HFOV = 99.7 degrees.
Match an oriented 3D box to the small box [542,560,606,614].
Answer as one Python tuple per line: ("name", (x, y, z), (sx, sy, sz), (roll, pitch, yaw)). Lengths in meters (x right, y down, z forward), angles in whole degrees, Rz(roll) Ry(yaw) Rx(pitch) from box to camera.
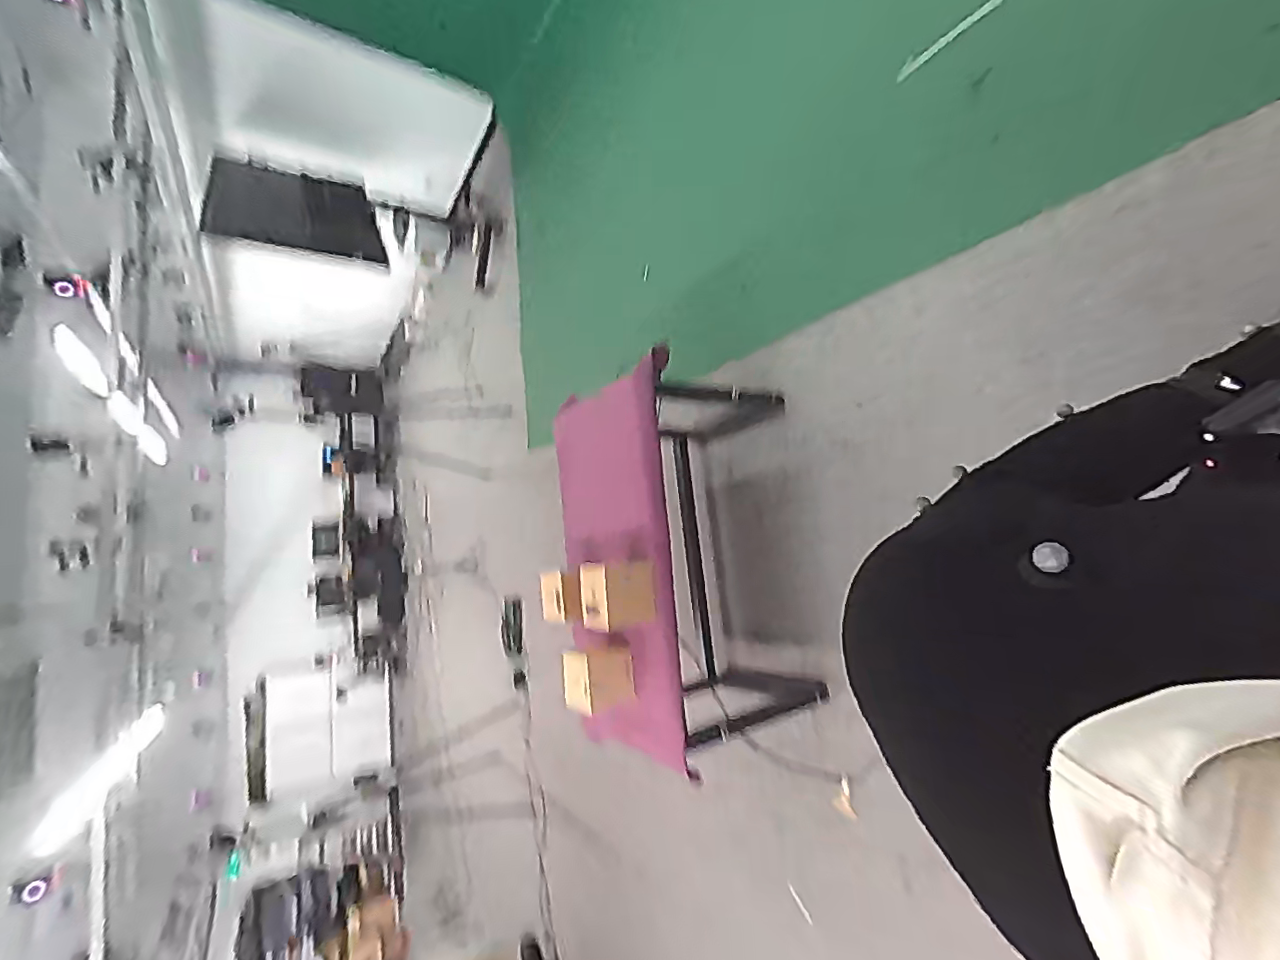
("small box", (-0.229, 0.377, 1.918), (0.179, 0.176, 0.168), (-18, 76, 55))

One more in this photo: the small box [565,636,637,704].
("small box", (-0.129, 0.616, 1.776), (0.179, 0.176, 0.168), (-15, 80, 55))
